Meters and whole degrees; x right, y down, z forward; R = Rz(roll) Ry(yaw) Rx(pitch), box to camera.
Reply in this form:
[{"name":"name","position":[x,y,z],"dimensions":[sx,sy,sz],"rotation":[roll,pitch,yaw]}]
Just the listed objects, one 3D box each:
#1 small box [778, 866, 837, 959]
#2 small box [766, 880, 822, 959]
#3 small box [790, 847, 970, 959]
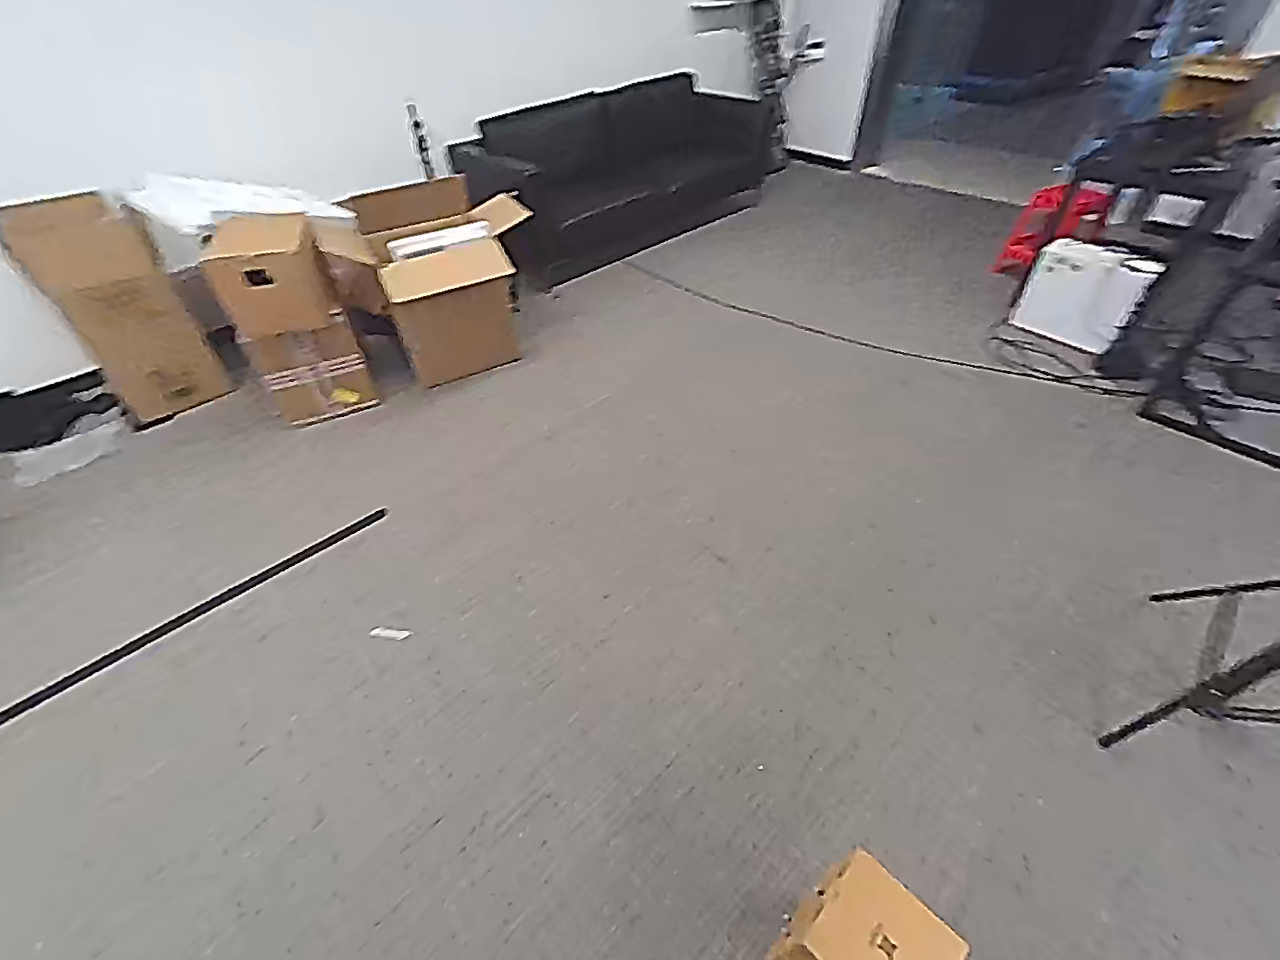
[{"name":"small box","position":[0.358,0.830,0.946],"dimensions":[0.179,0.176,0.168],"rotation":[-35,54,-30]},{"name":"small box","position":[0.363,0.945,1.061],"dimensions":[0.179,0.176,0.168],"rotation":[-35,53,-29]},{"name":"small box","position":[0.356,0.716,0.831],"dimensions":[0.179,0.176,0.168],"rotation":[34,56,31]}]
